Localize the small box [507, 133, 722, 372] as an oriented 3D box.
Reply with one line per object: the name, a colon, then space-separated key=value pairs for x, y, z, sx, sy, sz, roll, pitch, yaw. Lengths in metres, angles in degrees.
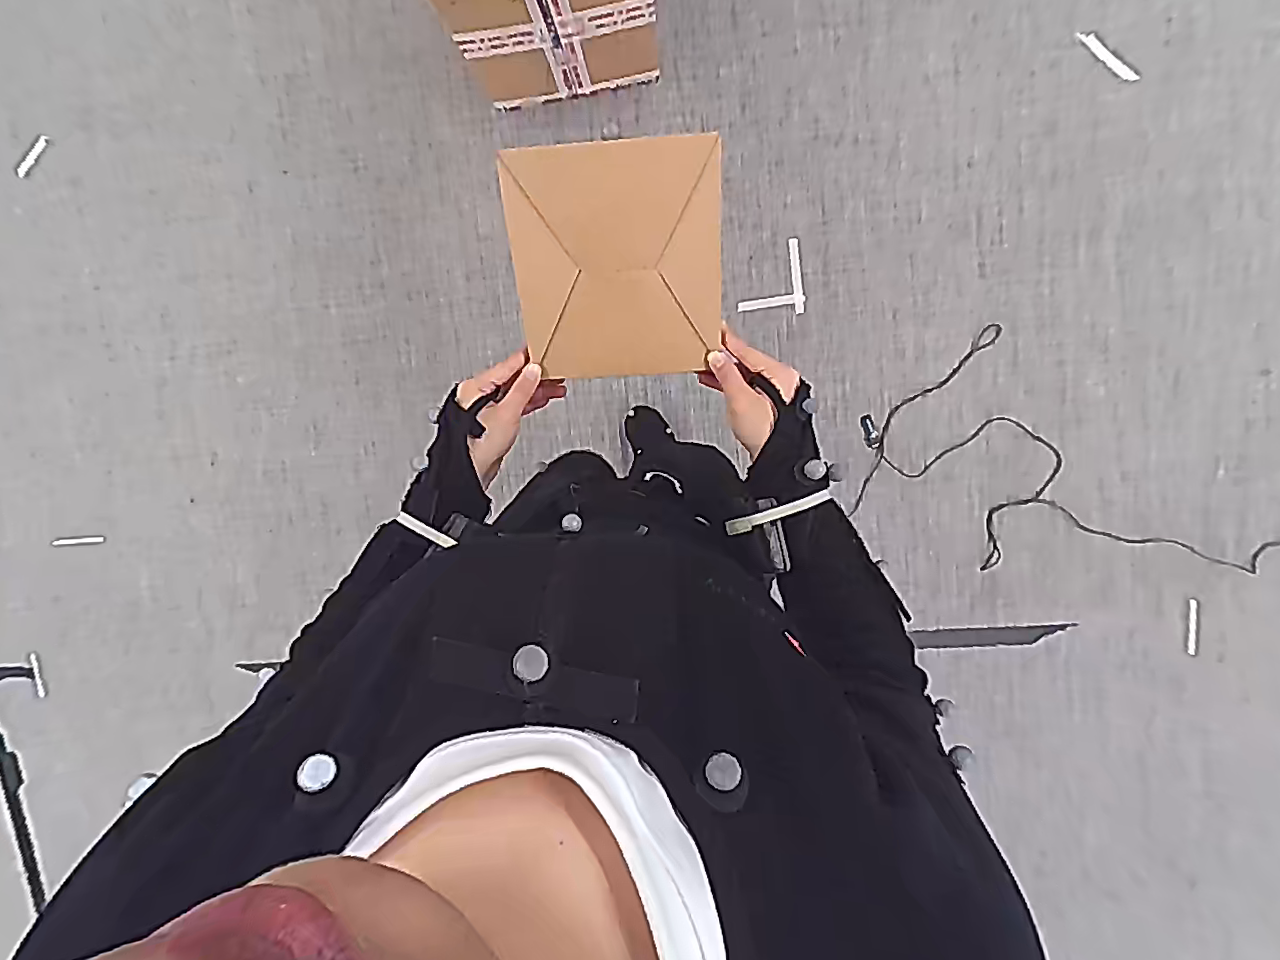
small box: x=-0.016 y=-0.210 z=0.507 sx=0.168 sy=0.176 sz=0.179 roll=-3 pitch=119 yaw=2
